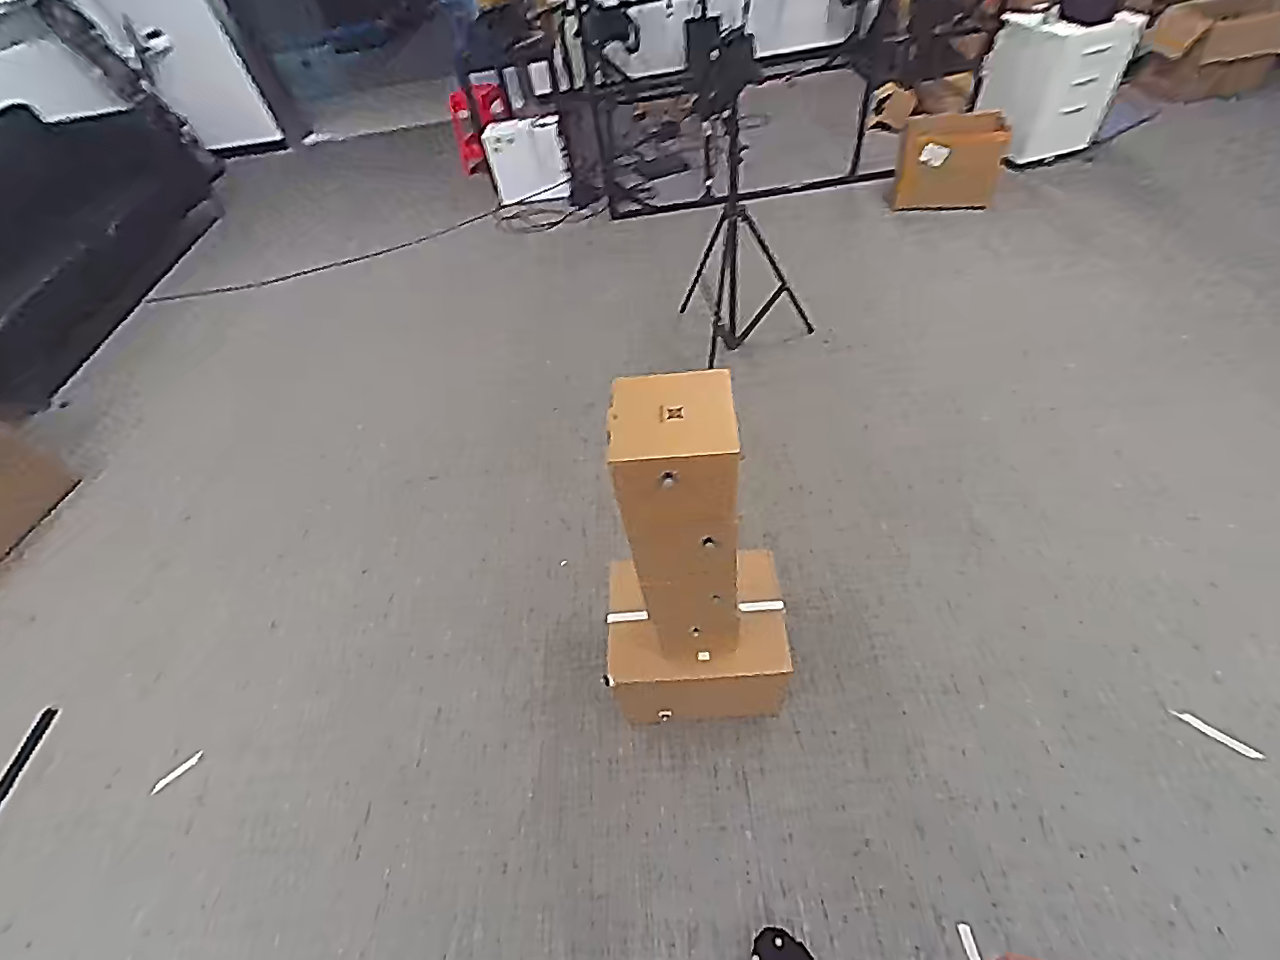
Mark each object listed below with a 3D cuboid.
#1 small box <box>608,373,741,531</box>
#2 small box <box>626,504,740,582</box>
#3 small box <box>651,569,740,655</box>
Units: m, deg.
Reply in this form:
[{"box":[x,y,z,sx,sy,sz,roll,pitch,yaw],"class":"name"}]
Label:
[{"box":[0.054,-0.037,0.813,0.179,0.176,0.168,-4,52,7],"class":"small box"},{"box":[0.075,0.065,0.937,0.179,0.176,0.168,-4,51,6],"class":"small box"},{"box":[0.120,0.272,1.189,0.179,0.176,0.168,-7,51,3],"class":"small box"}]
